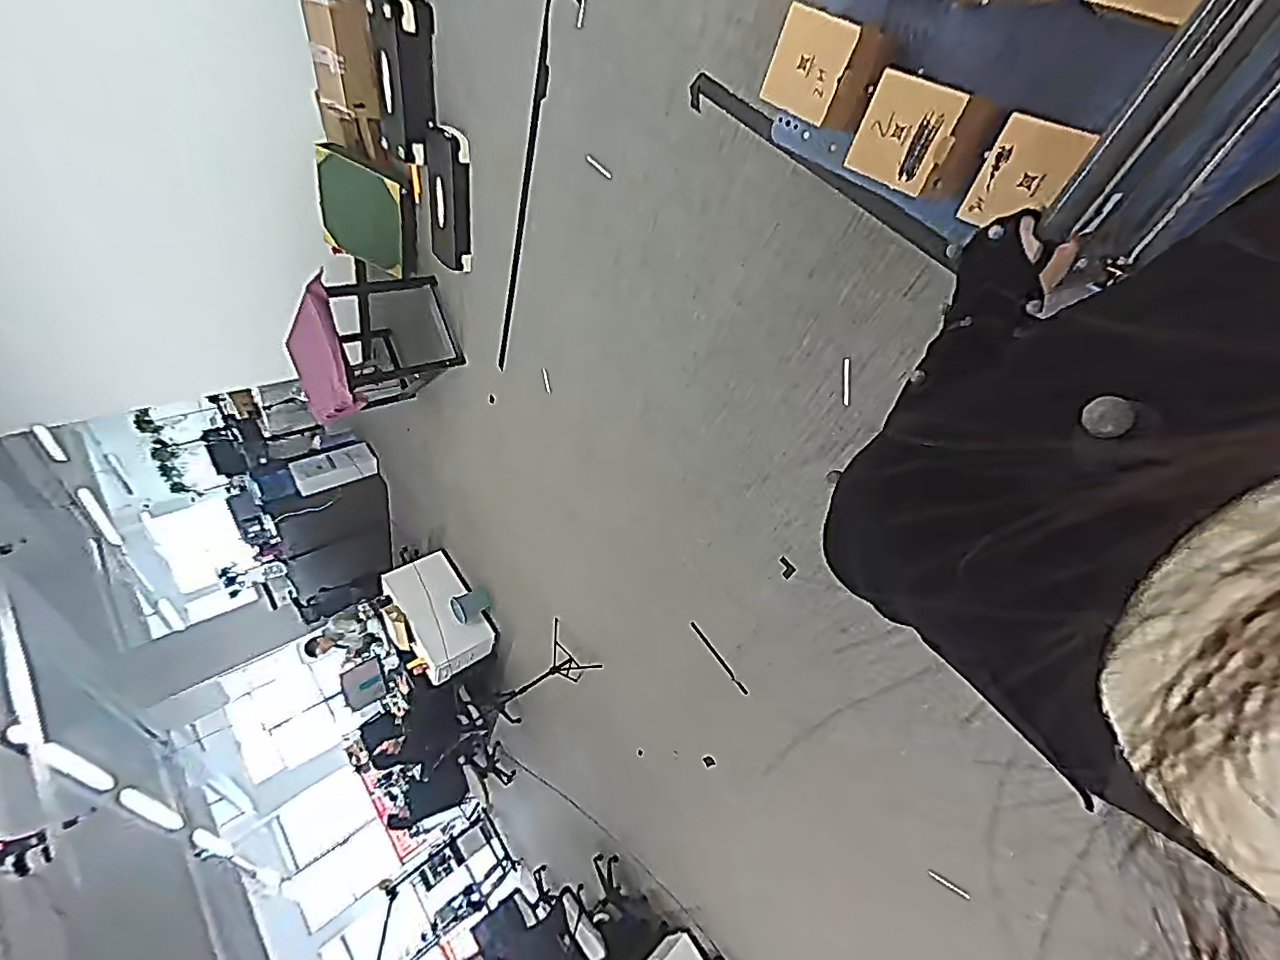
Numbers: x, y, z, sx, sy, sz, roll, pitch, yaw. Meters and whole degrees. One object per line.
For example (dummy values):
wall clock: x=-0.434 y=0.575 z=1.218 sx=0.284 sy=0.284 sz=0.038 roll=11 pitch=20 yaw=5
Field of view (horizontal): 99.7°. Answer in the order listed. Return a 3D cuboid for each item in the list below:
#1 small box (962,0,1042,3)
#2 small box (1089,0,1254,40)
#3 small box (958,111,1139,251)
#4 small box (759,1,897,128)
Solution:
small box: x=0.601 y=-0.881 z=0.857 sx=0.179 sy=0.176 sz=0.168 roll=35 pitch=133 yaw=35
small box: x=0.772 y=-0.730 z=0.737 sx=0.179 sy=0.176 sz=0.168 roll=45 pitch=138 yaw=26
small box: x=0.705 y=-0.516 z=0.934 sx=0.179 sy=0.176 sz=0.168 roll=41 pitch=136 yaw=28
small box: x=0.388 y=-0.853 z=1.124 sx=0.179 sy=0.176 sz=0.168 roll=44 pitch=138 yaw=23
